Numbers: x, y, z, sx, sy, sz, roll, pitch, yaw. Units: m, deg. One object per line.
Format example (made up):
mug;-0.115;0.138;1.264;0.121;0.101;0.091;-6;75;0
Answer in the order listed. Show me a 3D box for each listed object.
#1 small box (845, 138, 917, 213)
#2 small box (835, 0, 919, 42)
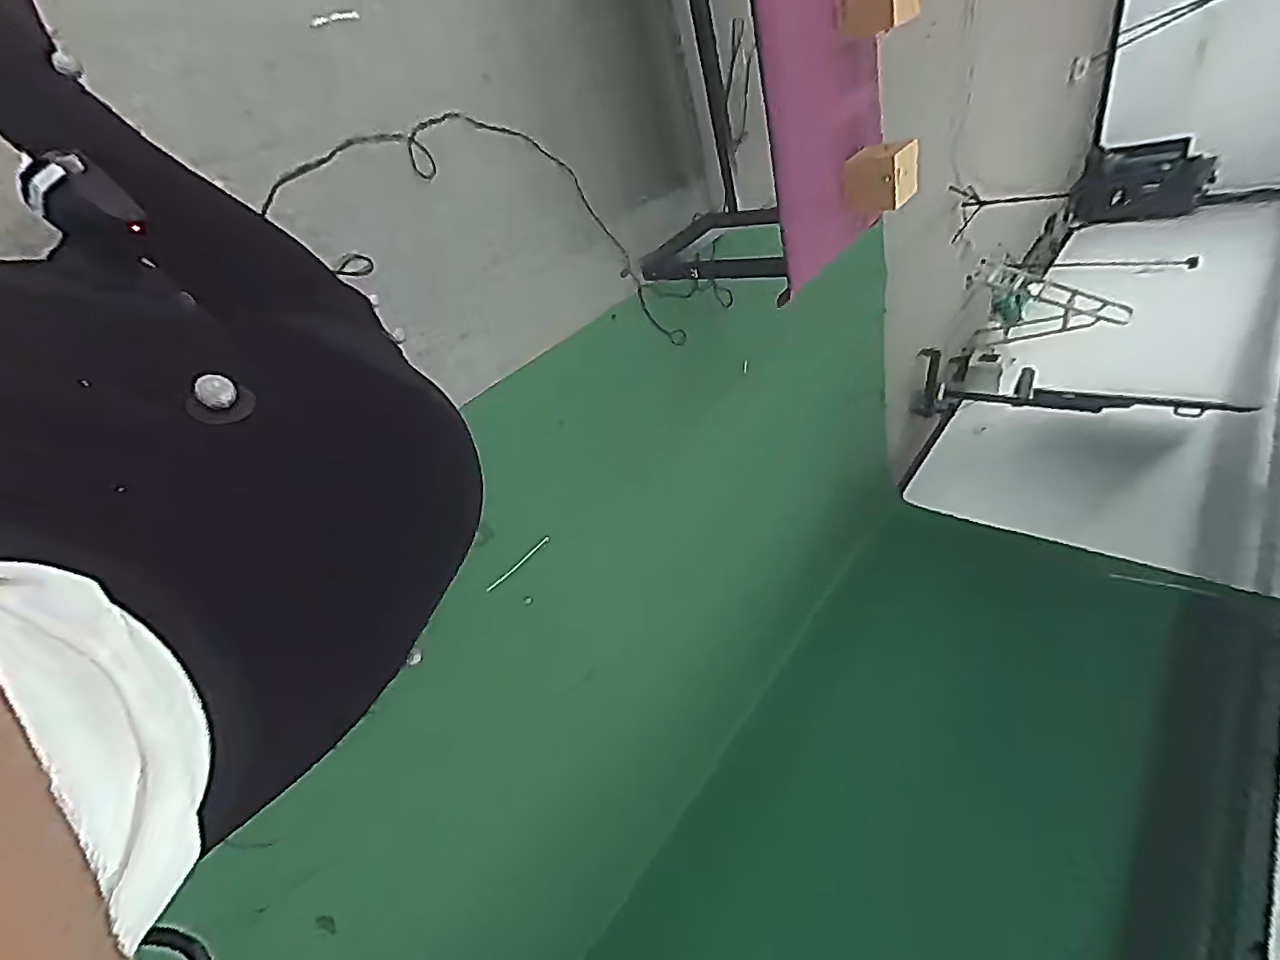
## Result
small box;0.799;-1.007;1.793;0.179;0.176;0.168;-44;130;-28
small box;0.669;-1.375;1.526;0.179;0.176;0.168;-43;130;-28
